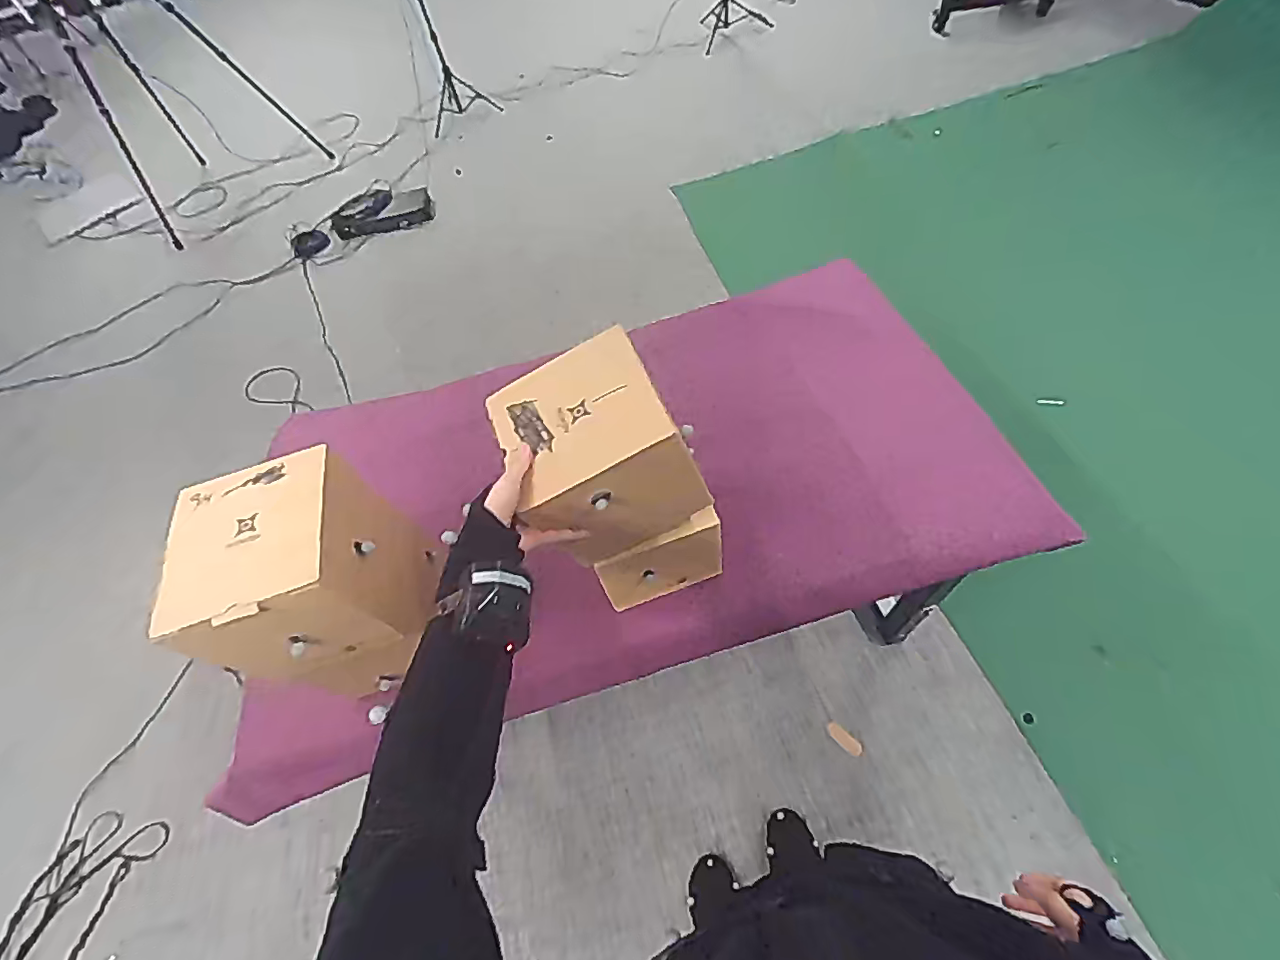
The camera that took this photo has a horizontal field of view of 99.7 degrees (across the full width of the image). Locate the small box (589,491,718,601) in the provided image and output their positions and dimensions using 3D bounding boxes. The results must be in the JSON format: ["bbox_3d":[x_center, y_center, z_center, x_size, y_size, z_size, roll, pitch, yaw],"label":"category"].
[{"bbox_3d":[0.005,0.054,0.767,0.168,0.176,0.179,-19,56,-3],"label":"small box"}]

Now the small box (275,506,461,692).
[{"bbox_3d":[-0.366,0.168,0.750,0.168,0.176,0.179,-19,57,-3],"label":"small box"}]

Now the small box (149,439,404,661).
[{"bbox_3d":[-0.383,0.089,0.607,0.168,0.176,0.179,-17,57,-3],"label":"small box"}]

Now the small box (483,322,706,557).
[{"bbox_3d":[-0.047,-0.036,0.619,0.179,0.176,0.168,-29,57,6],"label":"small box"}]
